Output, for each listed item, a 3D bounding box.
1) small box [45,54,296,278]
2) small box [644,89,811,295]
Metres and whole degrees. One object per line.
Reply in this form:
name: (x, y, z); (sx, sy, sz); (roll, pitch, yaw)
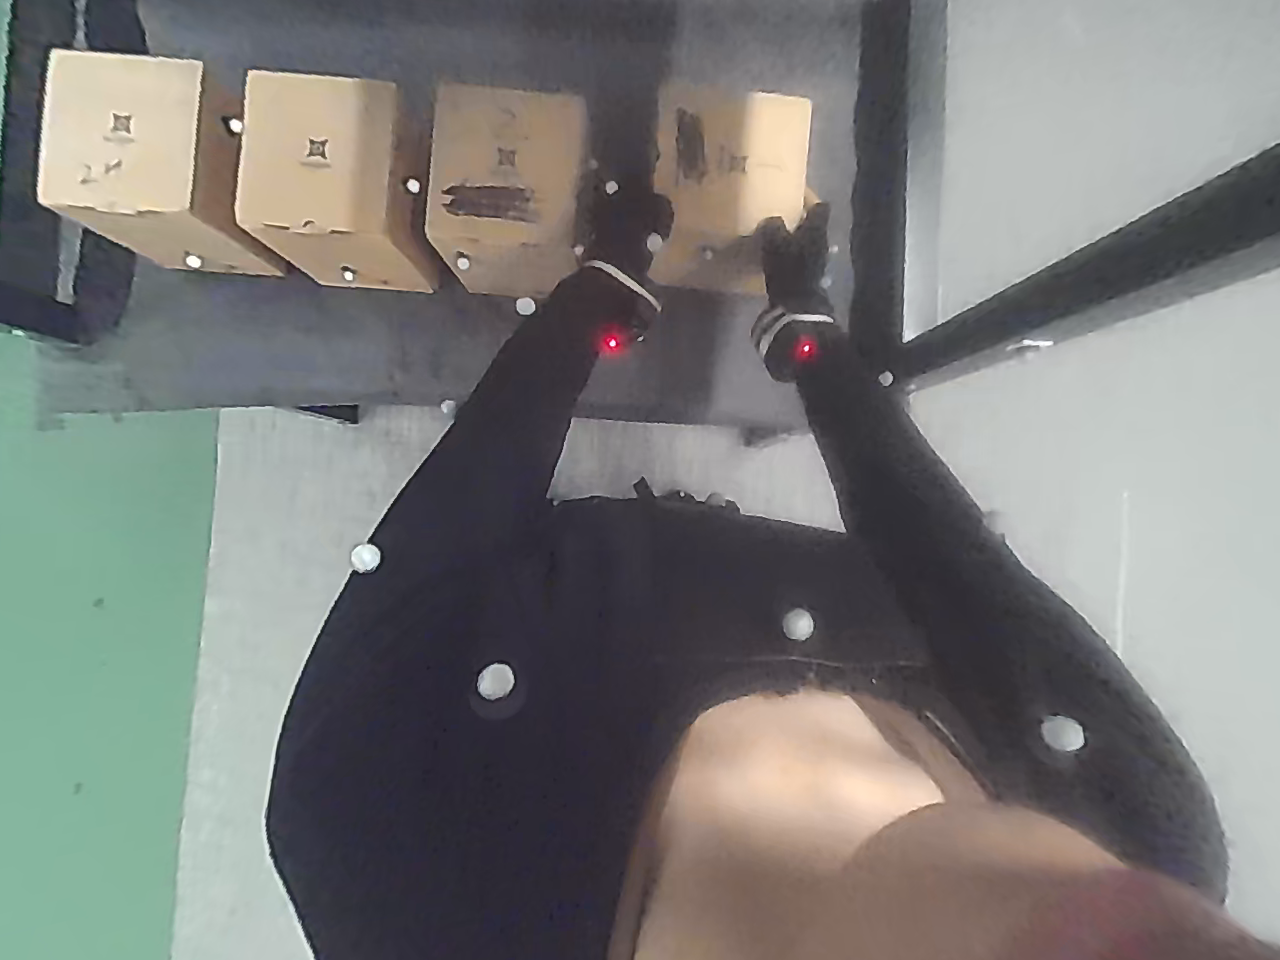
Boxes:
small box: (-0.563, -0.376, 0.675); (0.168, 0.176, 0.179); (3, 88, -1)
small box: (0.099, -0.351, 0.691); (0.179, 0.176, 0.168); (5, 89, -2)
